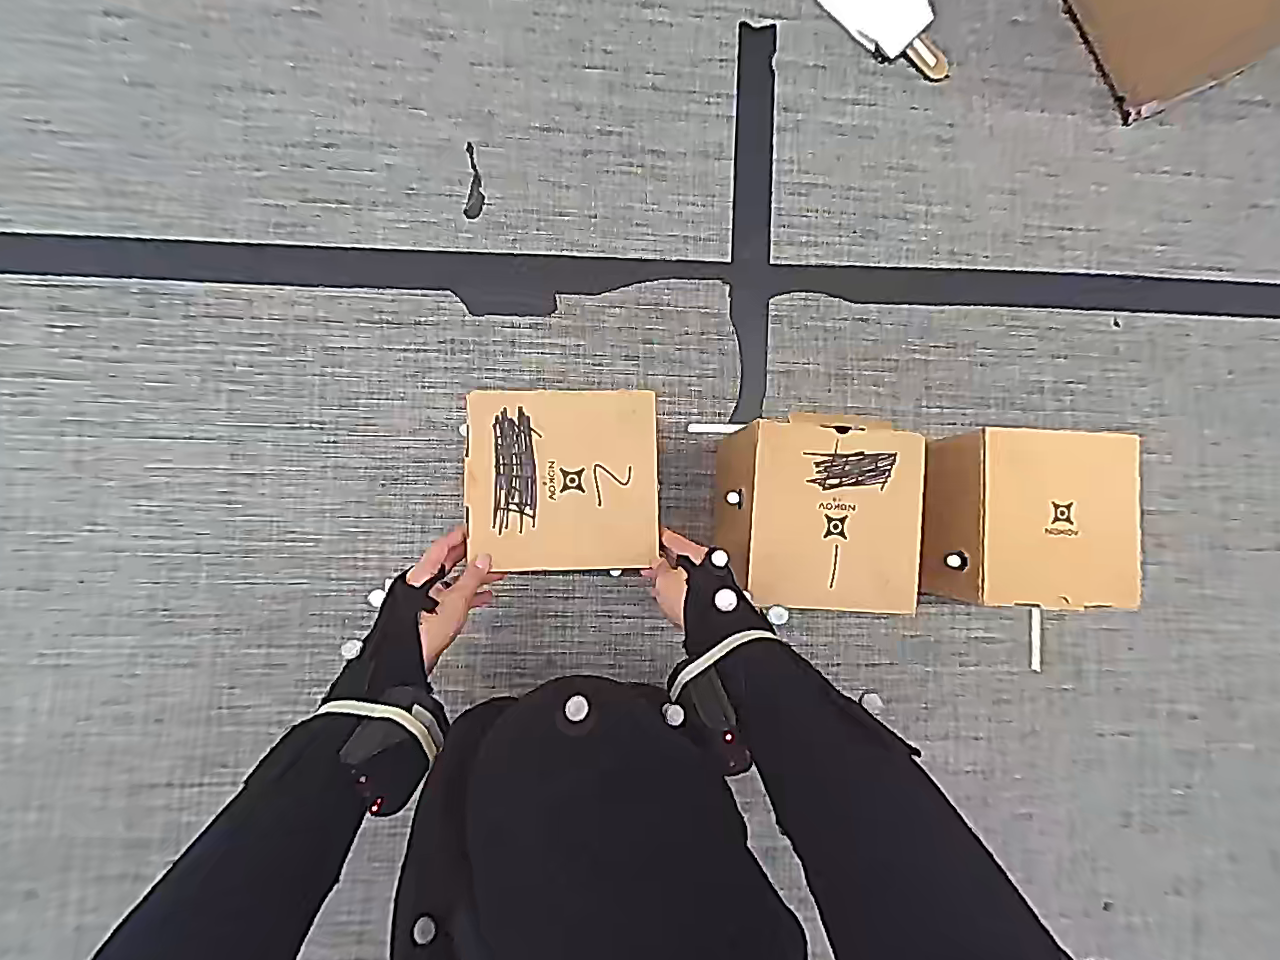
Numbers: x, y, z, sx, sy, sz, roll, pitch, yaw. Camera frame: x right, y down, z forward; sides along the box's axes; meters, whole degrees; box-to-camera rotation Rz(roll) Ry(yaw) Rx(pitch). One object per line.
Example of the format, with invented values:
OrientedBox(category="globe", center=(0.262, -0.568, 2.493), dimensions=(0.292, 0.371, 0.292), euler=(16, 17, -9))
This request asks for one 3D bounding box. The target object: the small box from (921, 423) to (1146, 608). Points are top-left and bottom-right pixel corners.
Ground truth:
OrientedBox(category="small box", center=(0.405, 0.040, 0.604), dimensions=(0.168, 0.176, 0.179), euler=(2, 87, -5))

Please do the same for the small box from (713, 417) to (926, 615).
OrientedBox(category="small box", center=(0.179, 0.038, 0.582), dimensions=(0.168, 0.176, 0.179), euler=(4, 87, -4))
